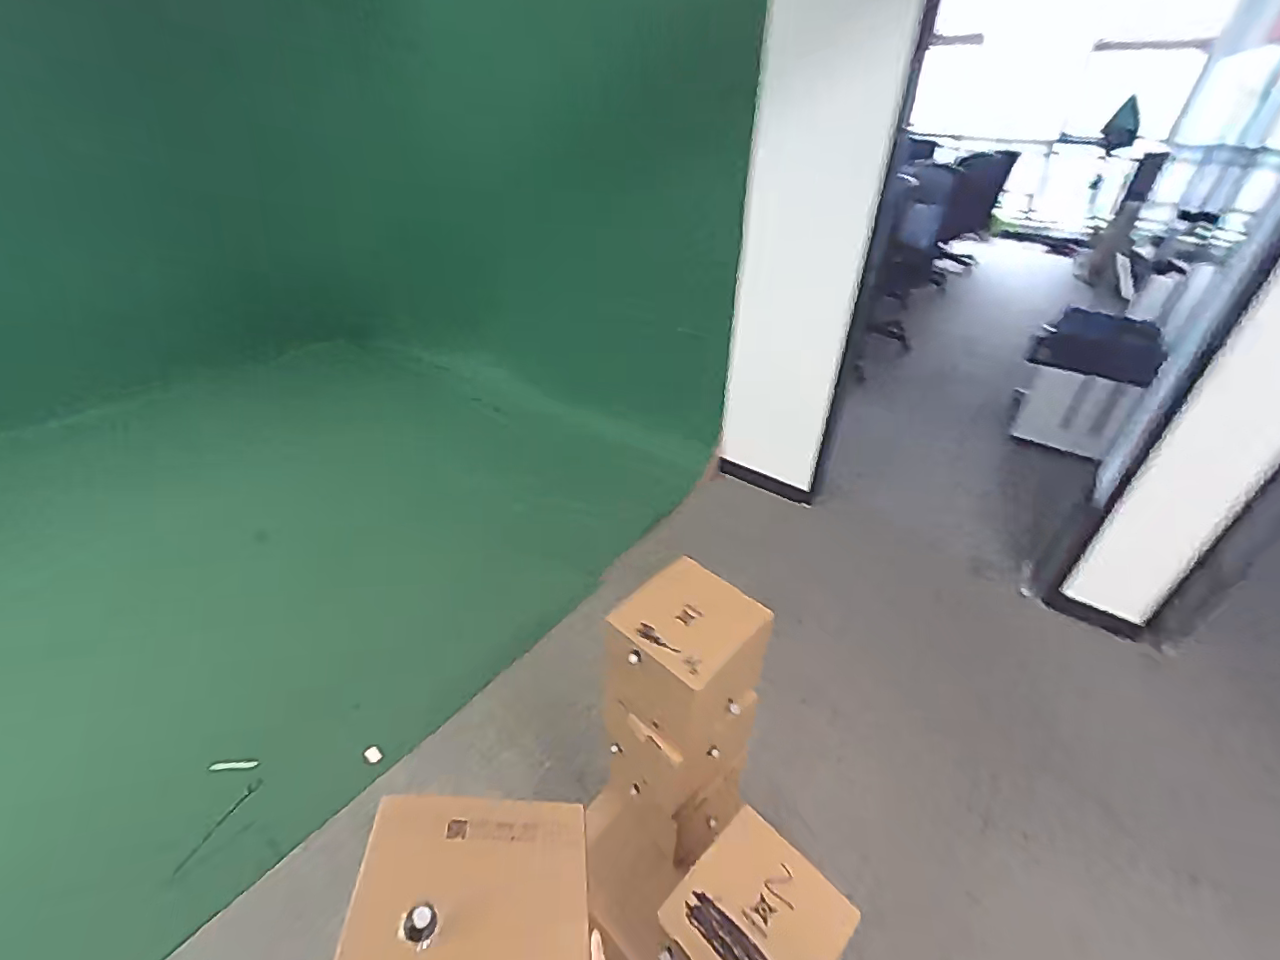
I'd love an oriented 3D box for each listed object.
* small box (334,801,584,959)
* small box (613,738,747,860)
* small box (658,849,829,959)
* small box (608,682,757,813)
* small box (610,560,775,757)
[{"bbox_3d":[-0.144,0.375,0.412,0.168,0.179,0.176,12,25,-15],"label":"small box"},{"bbox_3d":[0.065,0.531,0.977,0.168,0.176,0.179,-27,45,-32],"label":"small box"},{"bbox_3d":[0.140,0.686,0.763,0.168,0.176,0.179,28,44,32],"label":"small box"},{"bbox_3d":[0.065,0.395,0.885,0.179,0.176,0.168,-24,42,-32],"label":"small box"},{"bbox_3d":[0.070,0.256,0.795,0.168,0.176,0.179,30,44,35],"label":"small box"}]
